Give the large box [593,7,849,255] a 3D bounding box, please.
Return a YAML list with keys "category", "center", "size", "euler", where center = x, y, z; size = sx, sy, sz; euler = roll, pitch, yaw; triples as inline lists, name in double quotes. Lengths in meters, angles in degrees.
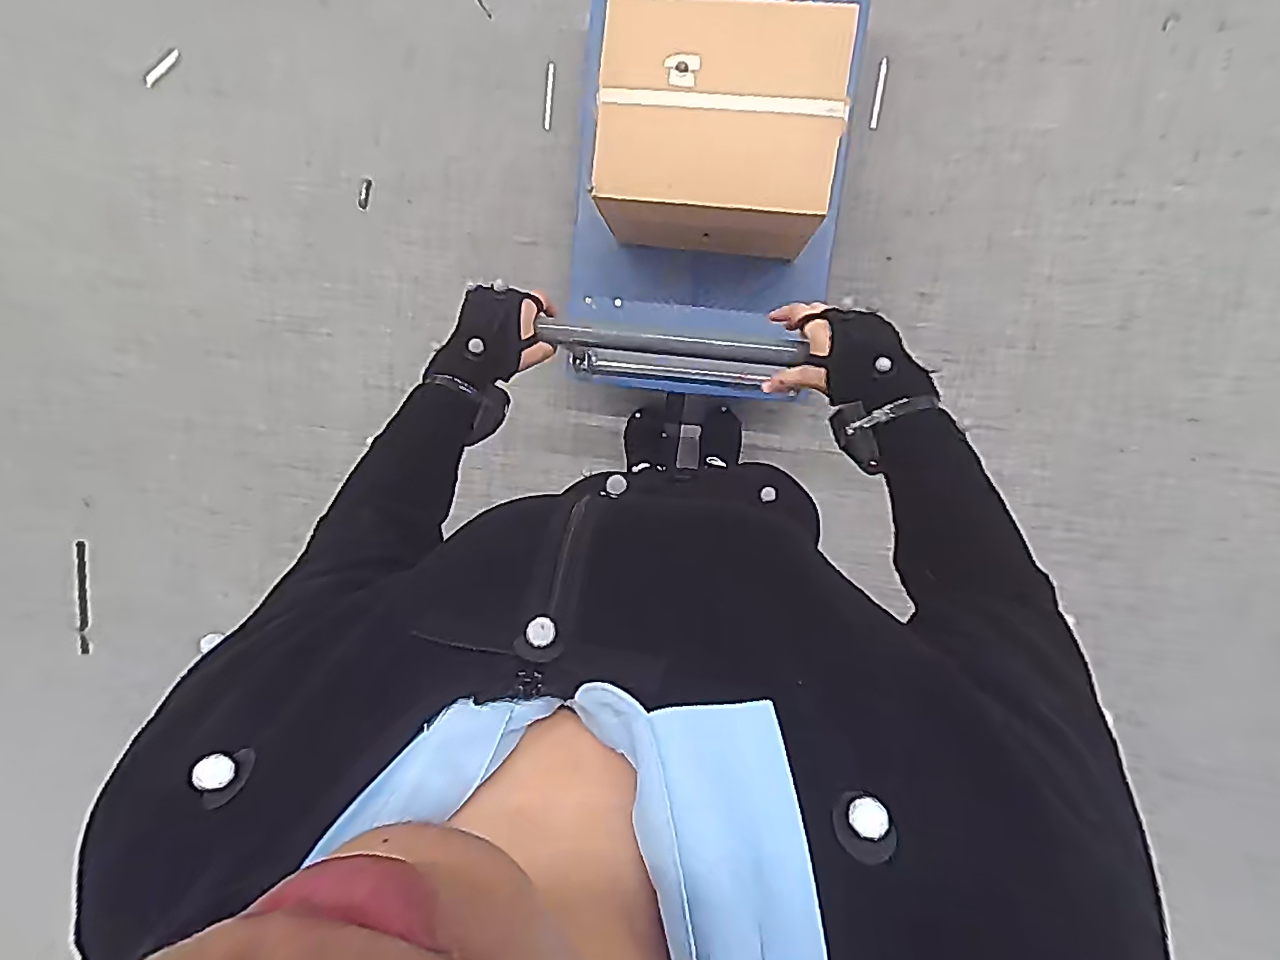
- category: "large box"
  center: [0.147, -0.643, 1.053]
  size: [0.408, 0.320, 0.320]
  euler: [7, 99, 6]
